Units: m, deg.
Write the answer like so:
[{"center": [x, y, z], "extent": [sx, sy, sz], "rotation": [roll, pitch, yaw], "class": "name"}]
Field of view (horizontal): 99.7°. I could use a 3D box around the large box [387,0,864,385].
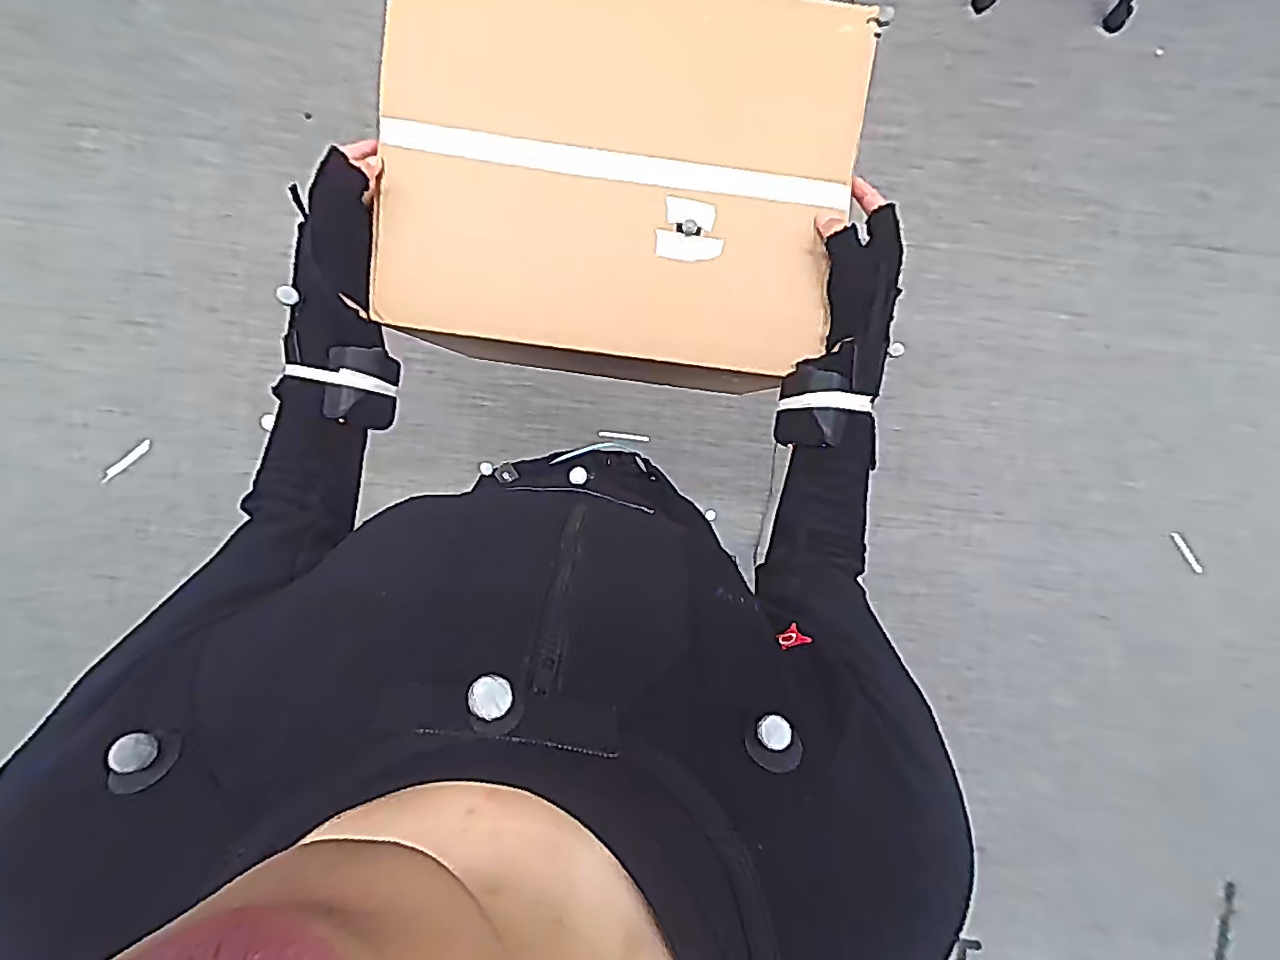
[{"center": [-0.024, -0.293, 0.628], "extent": [0.408, 0.320, 0.320], "rotation": [7, 98, -3], "class": "large box"}]
